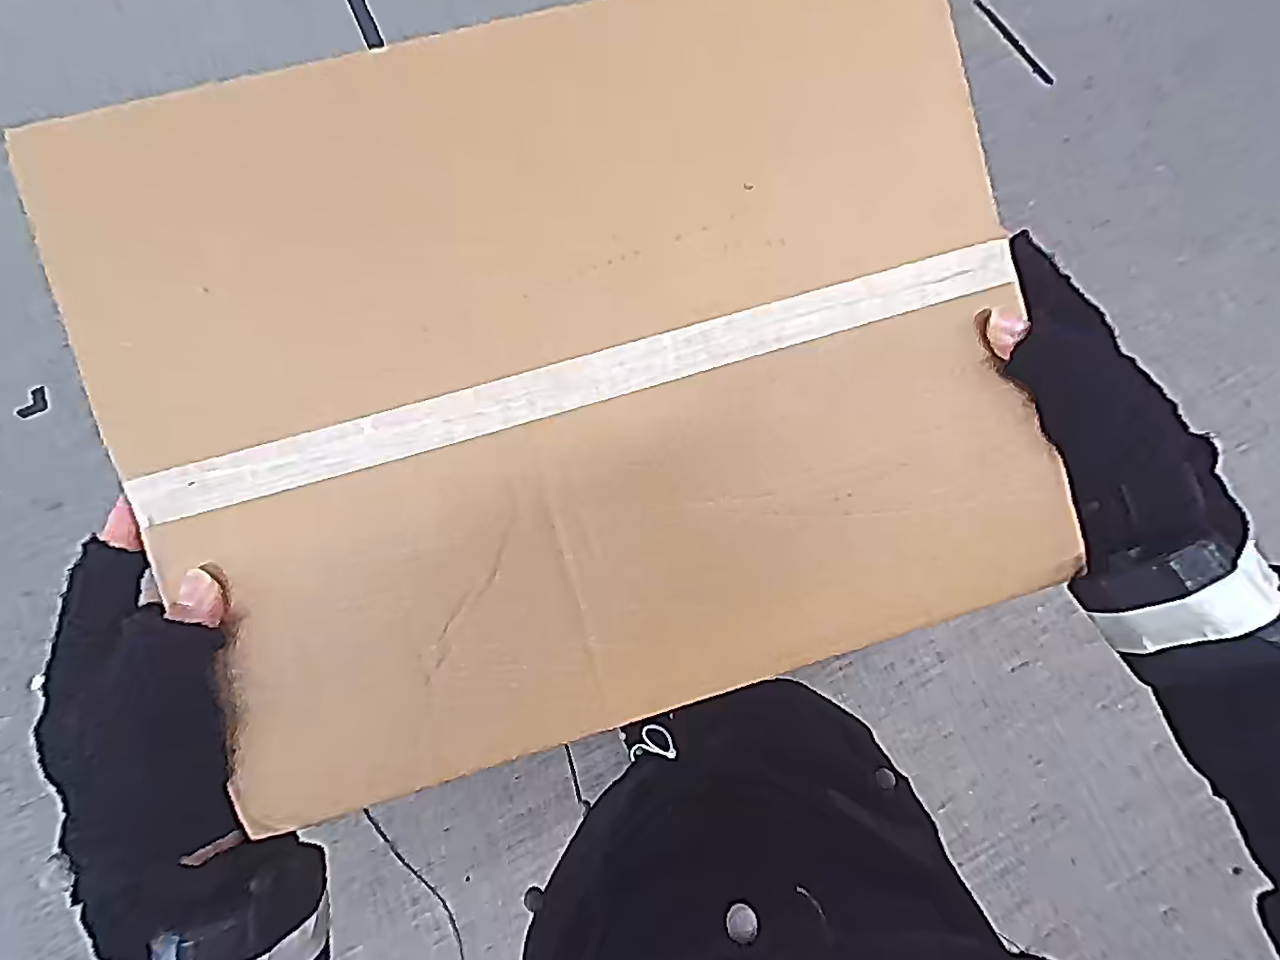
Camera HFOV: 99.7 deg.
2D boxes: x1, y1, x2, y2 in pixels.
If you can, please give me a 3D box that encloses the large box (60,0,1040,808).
[{"bbox_3d":[-0.032,-0.055,0.404,0.408,0.320,0.320,-16,93,-4],"label":"large box"}]
